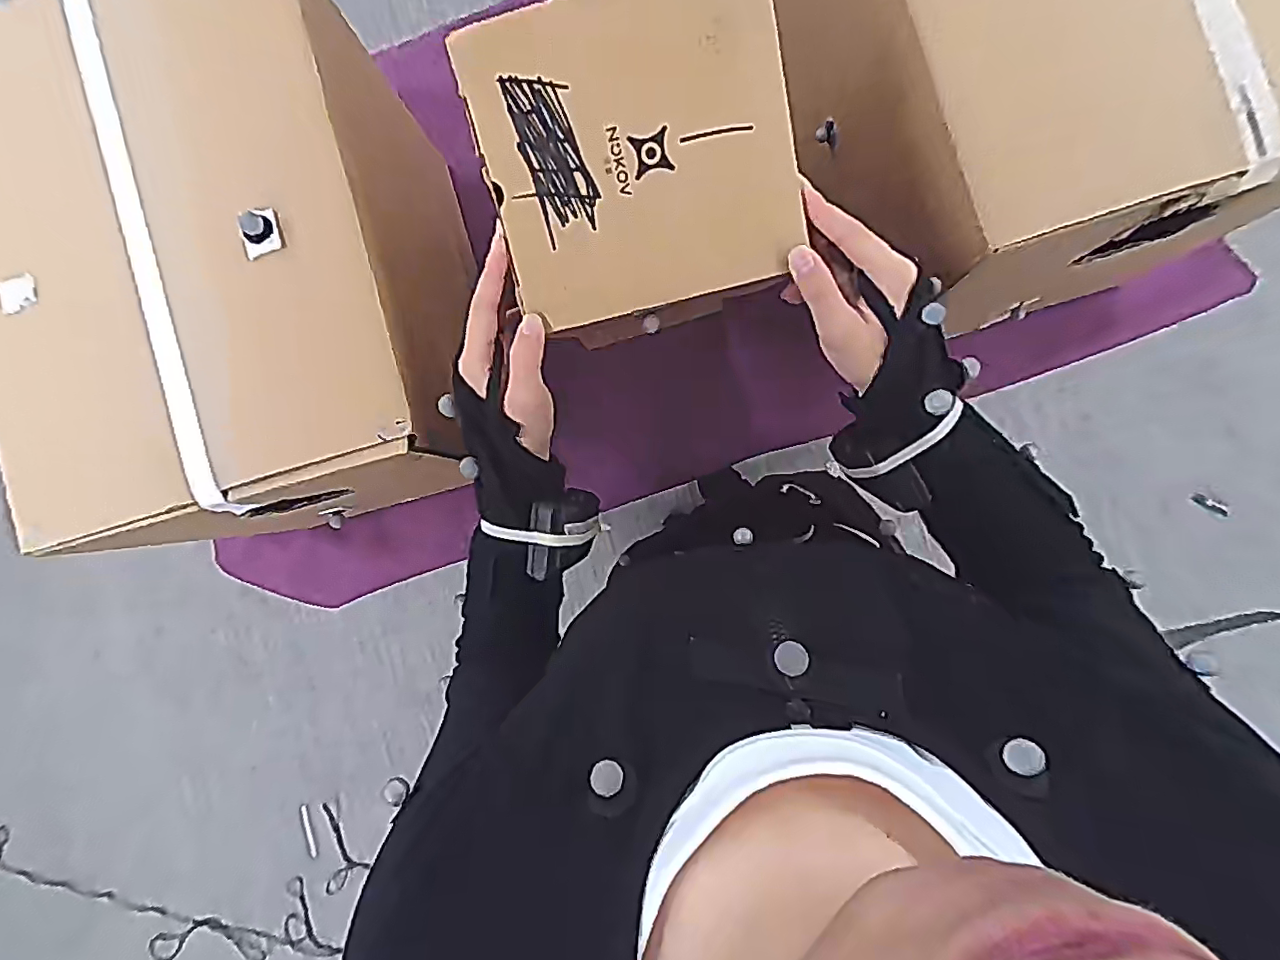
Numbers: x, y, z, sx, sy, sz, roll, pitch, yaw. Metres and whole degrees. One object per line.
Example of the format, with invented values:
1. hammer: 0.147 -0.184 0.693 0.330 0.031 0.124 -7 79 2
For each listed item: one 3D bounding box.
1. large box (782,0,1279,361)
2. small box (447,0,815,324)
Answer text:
1. large box: 0.325 -0.373 0.481 0.320 0.320 0.408 -17 86 5
2. small box: 0.001 -0.208 0.372 0.179 0.176 0.168 -13 105 4
